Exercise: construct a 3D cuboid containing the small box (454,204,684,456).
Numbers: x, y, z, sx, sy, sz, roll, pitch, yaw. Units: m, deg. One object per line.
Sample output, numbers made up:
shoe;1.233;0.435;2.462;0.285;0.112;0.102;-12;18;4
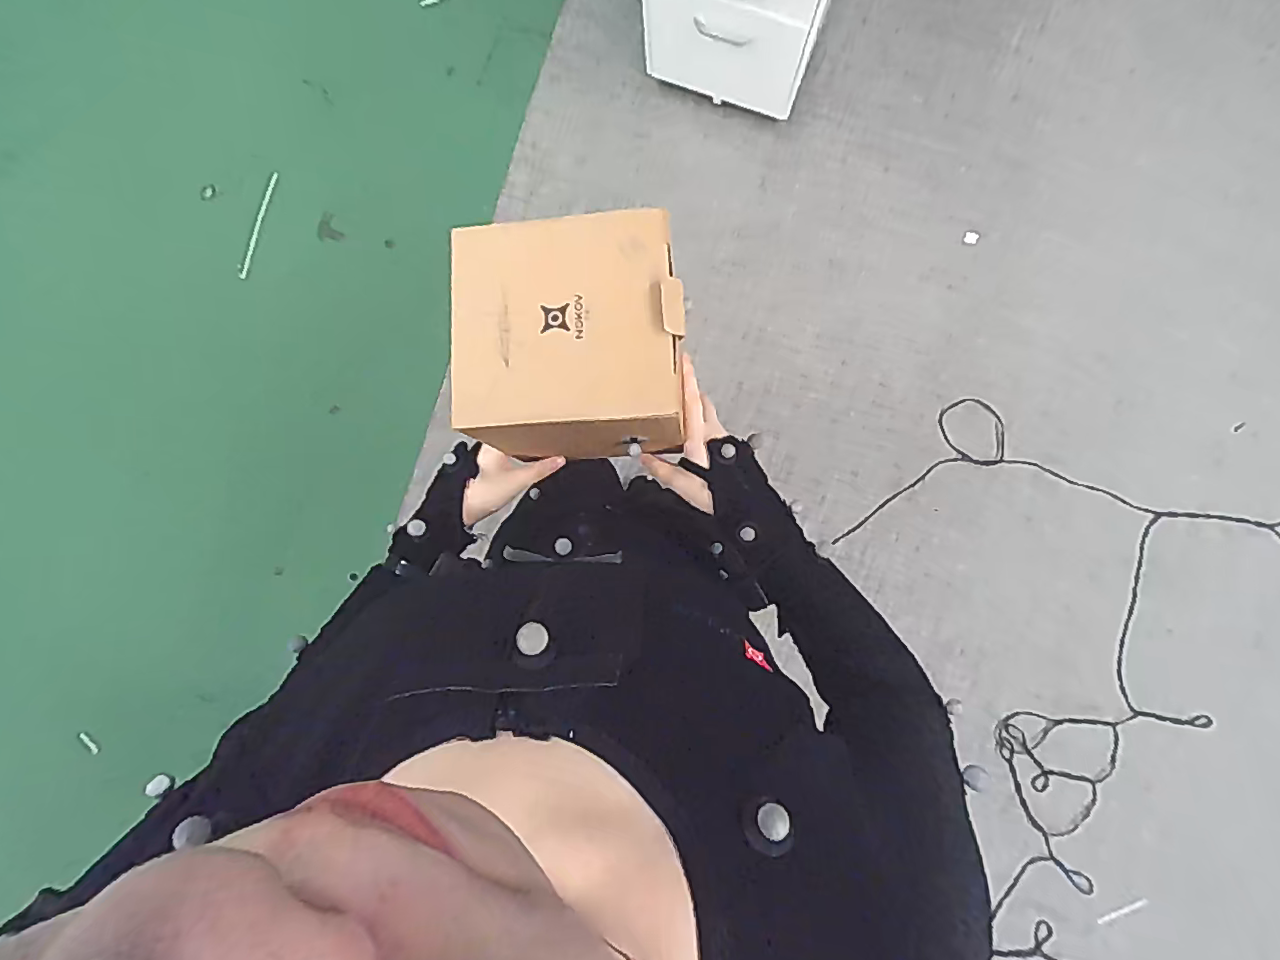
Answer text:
small box;-0.050;-0.118;0.491;0.179;0.176;0.168;-3;82;6
